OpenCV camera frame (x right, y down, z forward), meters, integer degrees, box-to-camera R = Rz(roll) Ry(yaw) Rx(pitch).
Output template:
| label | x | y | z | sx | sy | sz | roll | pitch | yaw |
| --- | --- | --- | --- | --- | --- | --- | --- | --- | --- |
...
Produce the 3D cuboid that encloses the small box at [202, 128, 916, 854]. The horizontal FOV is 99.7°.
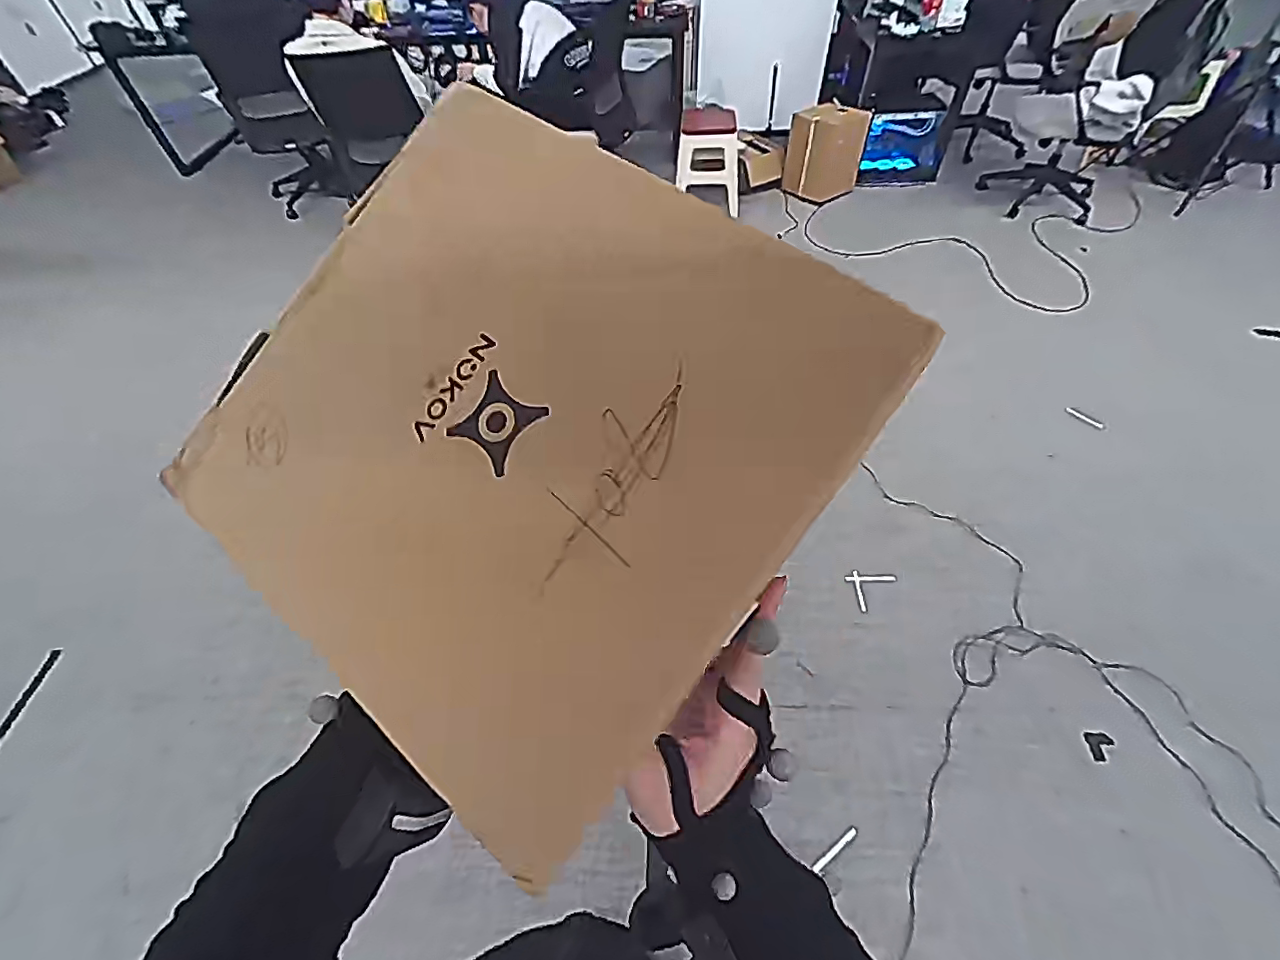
| label | x | y | z | sx | sy | sz | roll | pitch | yaw |
| --- | --- | --- | --- | --- | --- | --- | --- | --- | --- |
| small box | -0.022 | 0.001 | 0.241 | 0.179 | 0.176 | 0.168 | 34 | 90 | 17 |
